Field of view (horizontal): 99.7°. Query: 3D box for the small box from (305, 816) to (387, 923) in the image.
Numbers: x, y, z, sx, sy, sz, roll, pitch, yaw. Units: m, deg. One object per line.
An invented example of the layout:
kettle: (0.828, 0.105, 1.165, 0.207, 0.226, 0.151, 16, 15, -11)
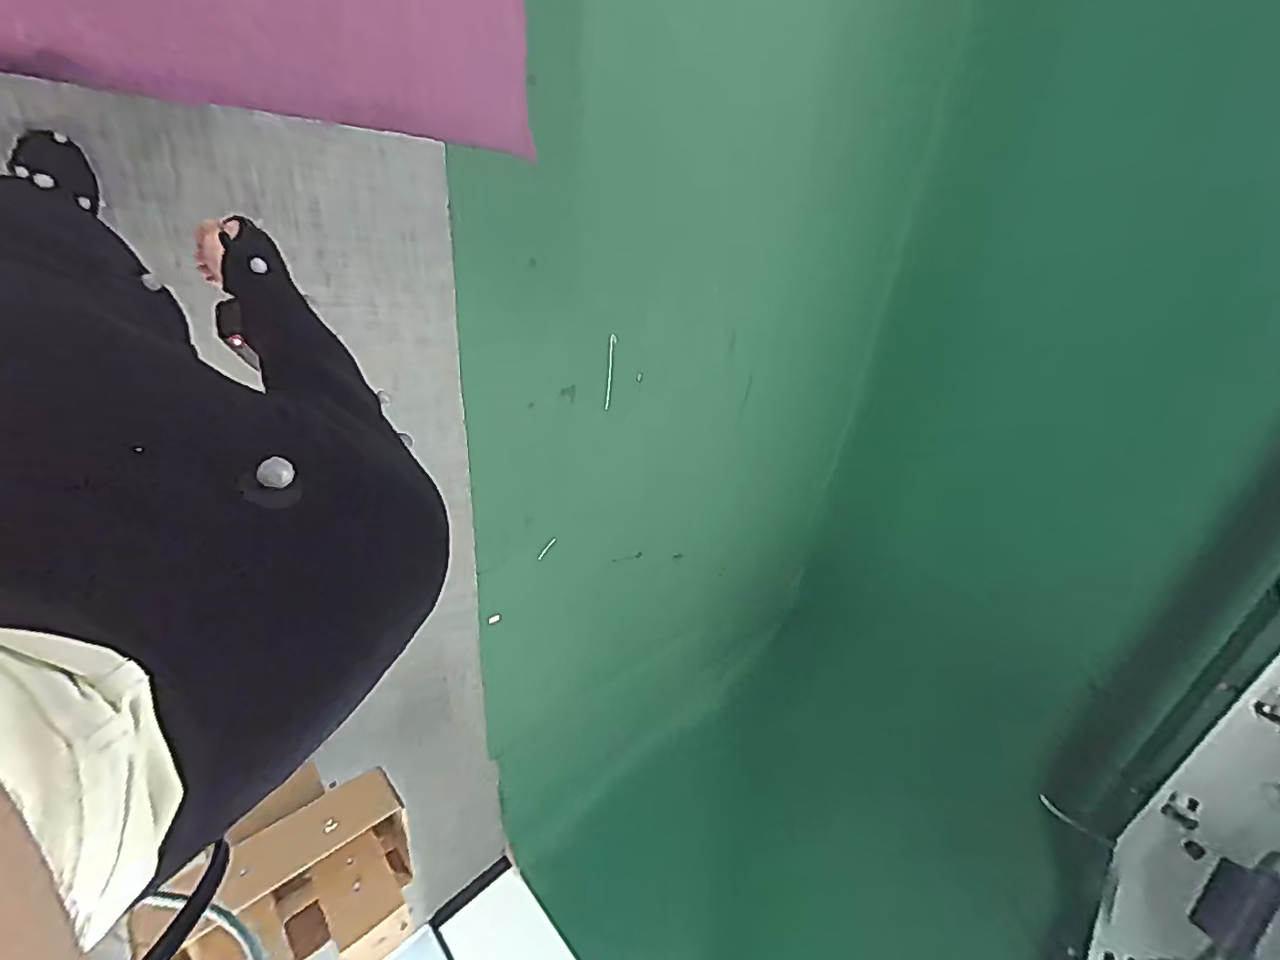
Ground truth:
small box: (-0.869, 1.158, 1.612, 0.179, 0.176, 0.168, -19, 126, -38)

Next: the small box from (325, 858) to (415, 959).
small box: (-0.757, 1.221, 1.510, 0.179, 0.176, 0.168, -22, 128, -38)
